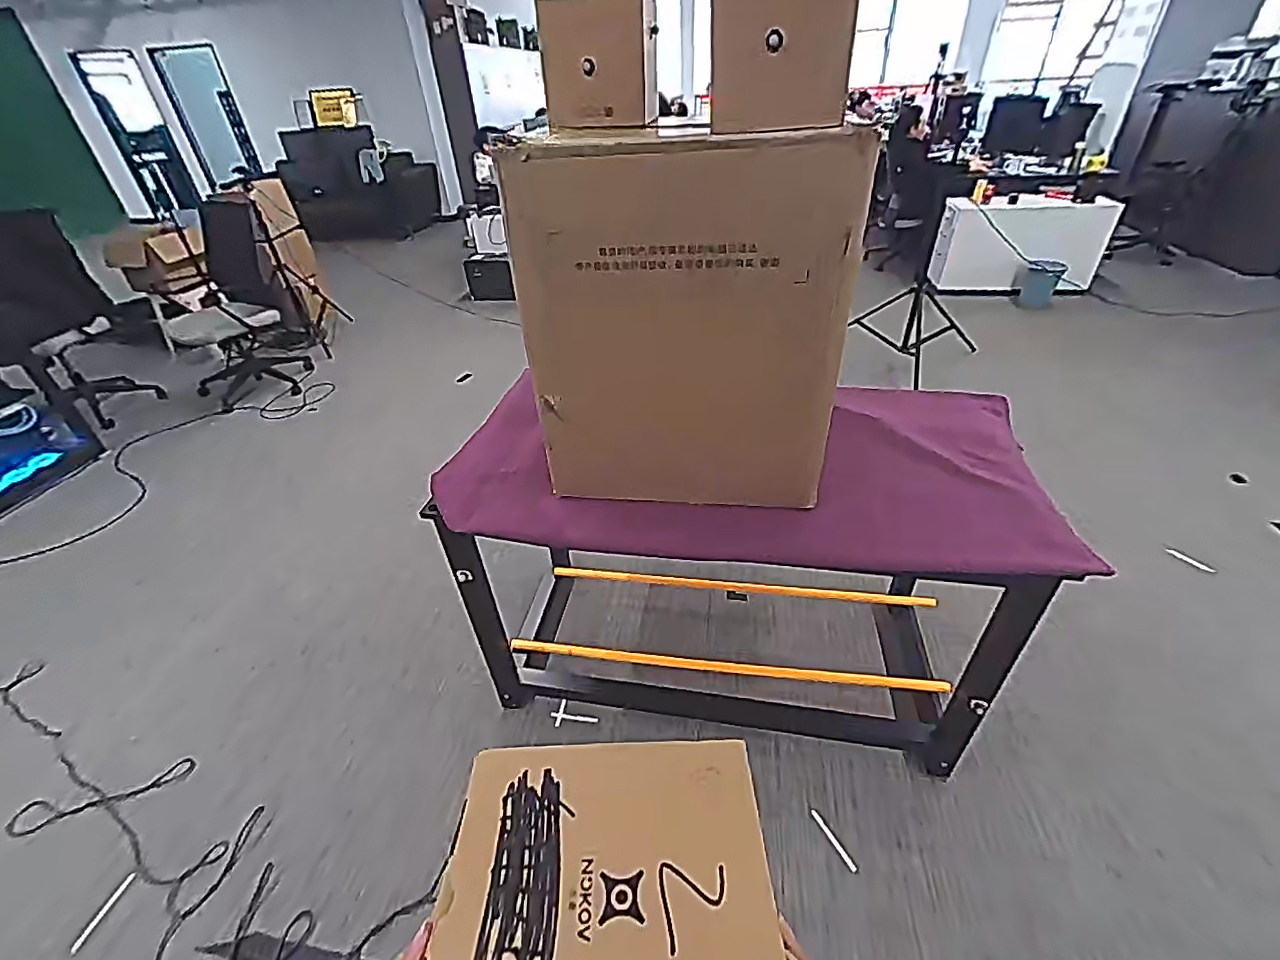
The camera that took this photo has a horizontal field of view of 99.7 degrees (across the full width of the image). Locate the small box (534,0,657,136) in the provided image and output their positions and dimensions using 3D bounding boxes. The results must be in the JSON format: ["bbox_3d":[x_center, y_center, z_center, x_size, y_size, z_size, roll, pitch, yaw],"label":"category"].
[{"bbox_3d":[-0.062,-0.683,0.908,0.168,0.176,0.179,4,37,8],"label":"small box"}]
